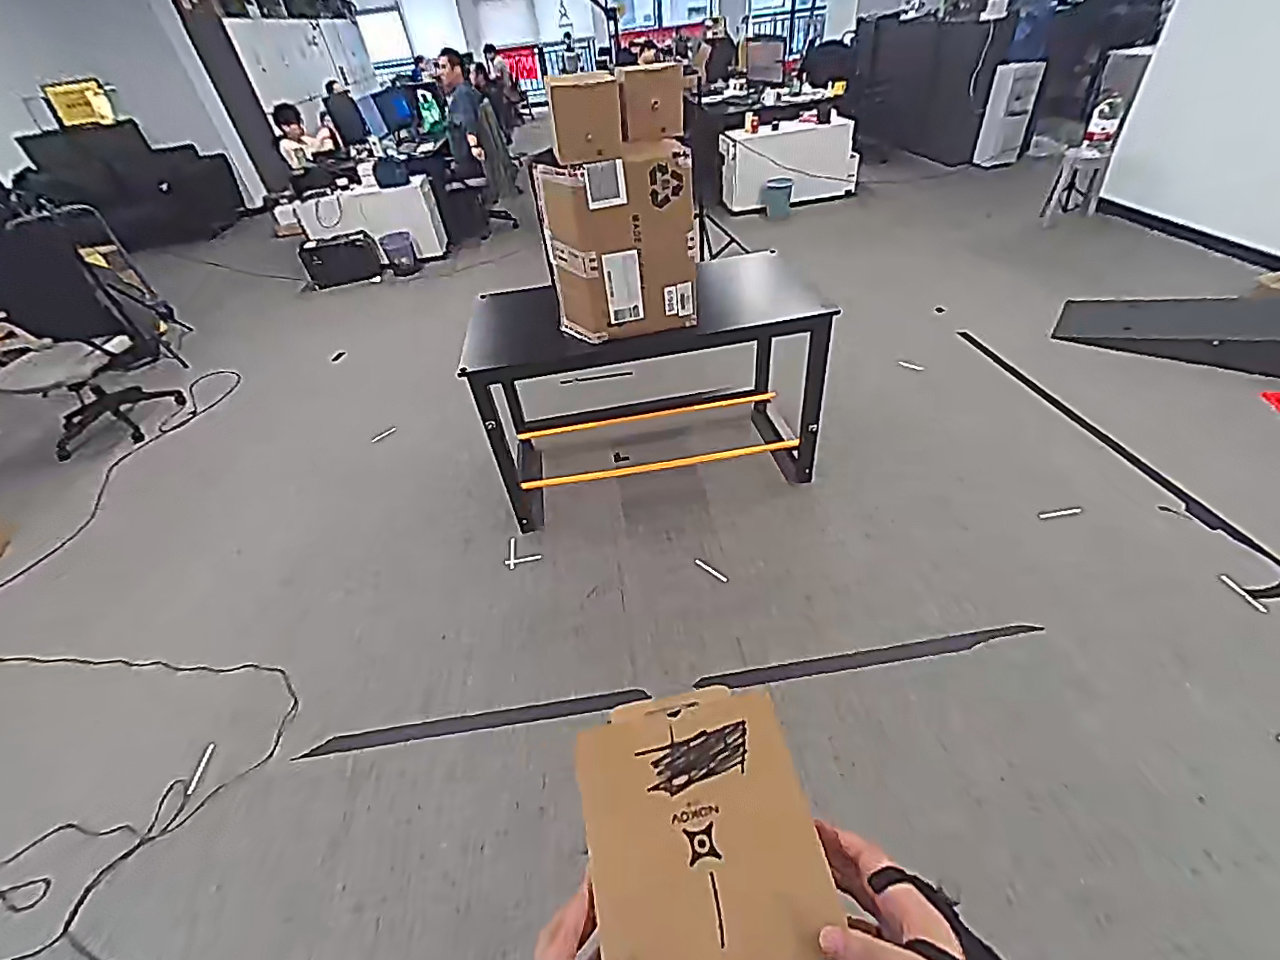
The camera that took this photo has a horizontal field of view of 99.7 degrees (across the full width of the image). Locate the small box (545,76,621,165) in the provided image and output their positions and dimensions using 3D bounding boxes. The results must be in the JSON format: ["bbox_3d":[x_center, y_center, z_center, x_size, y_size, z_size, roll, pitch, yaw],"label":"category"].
[{"bbox_3d":[-0.148,-0.933,1.404,0.168,0.176,0.179,-11,42,-6],"label":"small box"}]

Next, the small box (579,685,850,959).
[{"bbox_3d":[0.046,0.303,0.461,0.168,0.176,0.179,-11,52,-5],"label":"small box"}]

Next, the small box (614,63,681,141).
[{"bbox_3d":[0.024,-1.103,1.582,0.168,0.176,0.179,-10,41,-6],"label":"small box"}]
